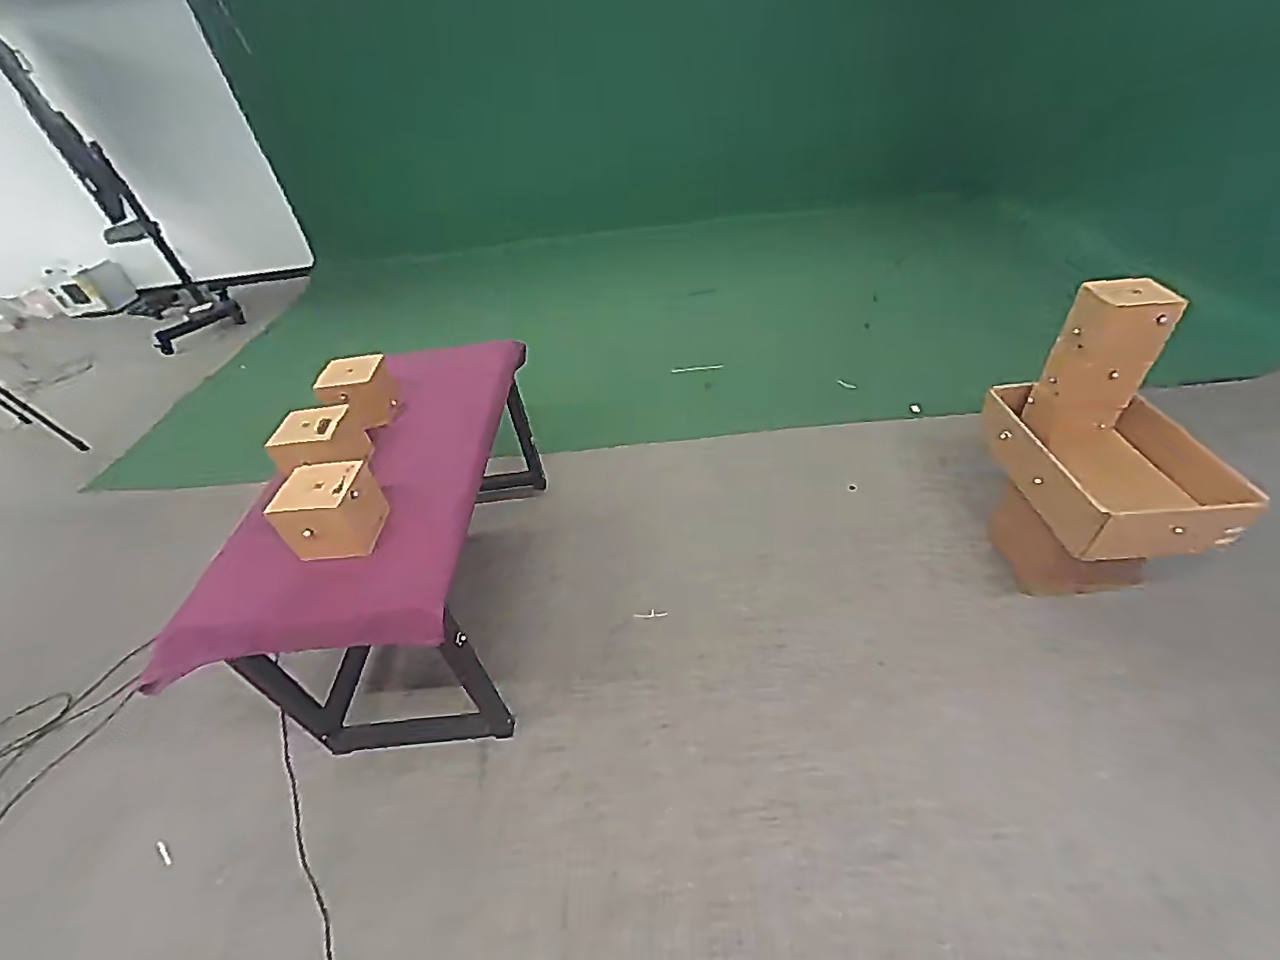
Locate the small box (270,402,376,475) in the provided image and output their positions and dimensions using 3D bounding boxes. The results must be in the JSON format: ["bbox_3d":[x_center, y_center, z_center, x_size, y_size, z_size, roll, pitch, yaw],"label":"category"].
[{"bbox_3d":[-0.877,-0.097,1.520,0.179,0.176,0.168,-6,42,3],"label":"small box"}]

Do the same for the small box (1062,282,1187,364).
[{"bbox_3d":[1.346,-0.438,1.517,0.179,0.176,0.168,-1,41,7],"label":"small box"}]

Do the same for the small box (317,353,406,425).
[{"bbox_3d":[-0.884,-0.286,1.733,0.179,0.176,0.168,-6,43,1],"label":"small box"}]

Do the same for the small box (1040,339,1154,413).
[{"bbox_3d":[1.360,-0.315,1.626,0.179,0.176,0.168,-3,41,5],"label":"small box"}]

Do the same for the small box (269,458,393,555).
[{"bbox_3d":[-0.739,0.067,1.316,0.179,0.176,0.168,-5,42,4],"label":"small box"}]
